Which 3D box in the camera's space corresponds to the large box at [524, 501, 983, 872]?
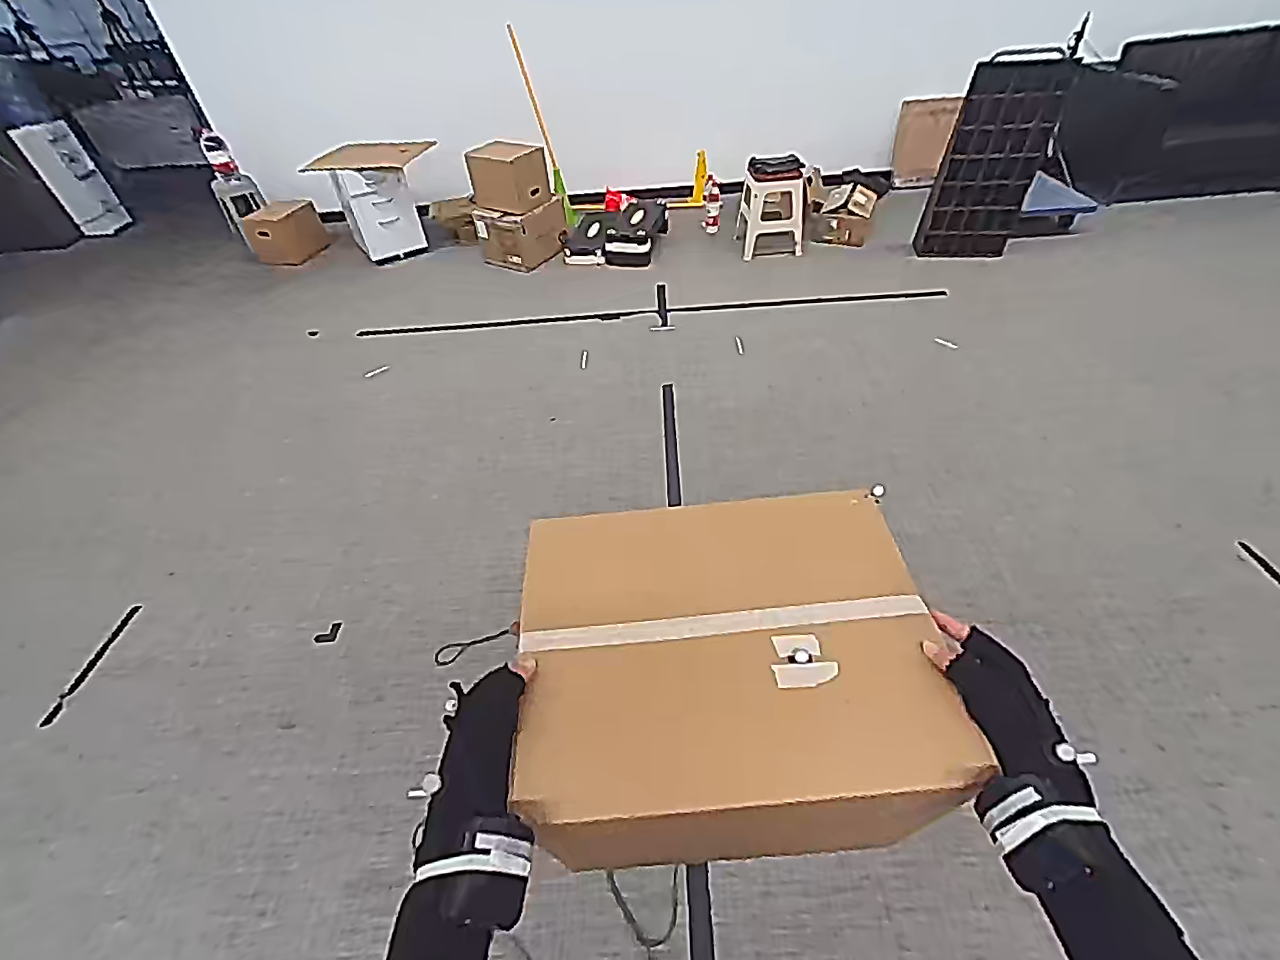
[{"bbox_3d":[0.093,0.257,0.664,0.408,0.320,0.320,-5,49,0],"label":"large box"}]
